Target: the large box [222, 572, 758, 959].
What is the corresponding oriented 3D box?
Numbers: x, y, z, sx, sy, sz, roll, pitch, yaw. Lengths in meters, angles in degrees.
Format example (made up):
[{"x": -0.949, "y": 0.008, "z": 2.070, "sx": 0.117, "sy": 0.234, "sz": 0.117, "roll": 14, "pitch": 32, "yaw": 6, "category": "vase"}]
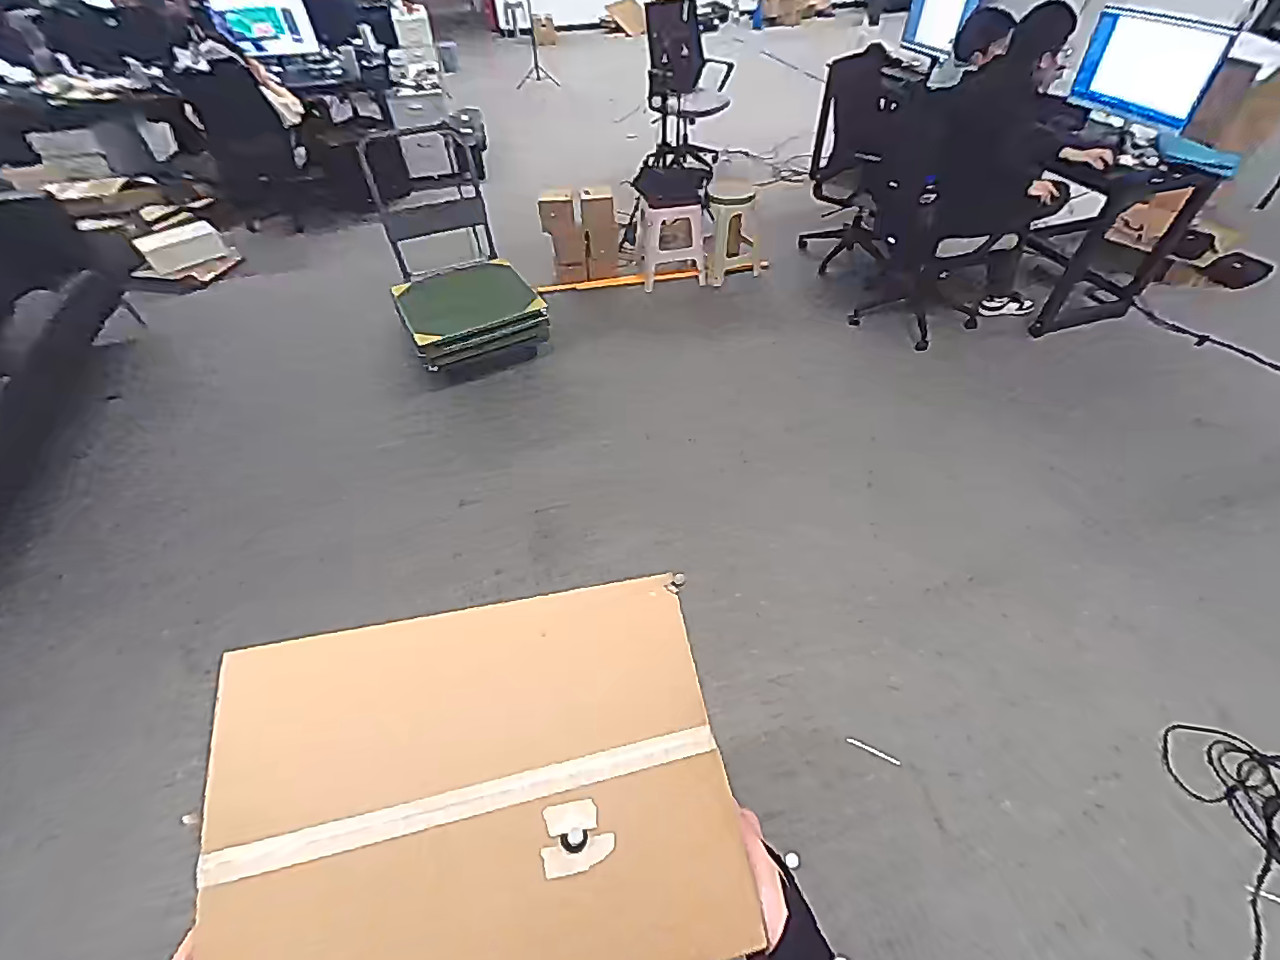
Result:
[{"x": -0.148, "y": 0.326, "z": 0.591, "sx": 0.408, "sy": 0.320, "sz": 0.320, "roll": -7, "pitch": 65, "yaw": -14, "category": "large box"}]
